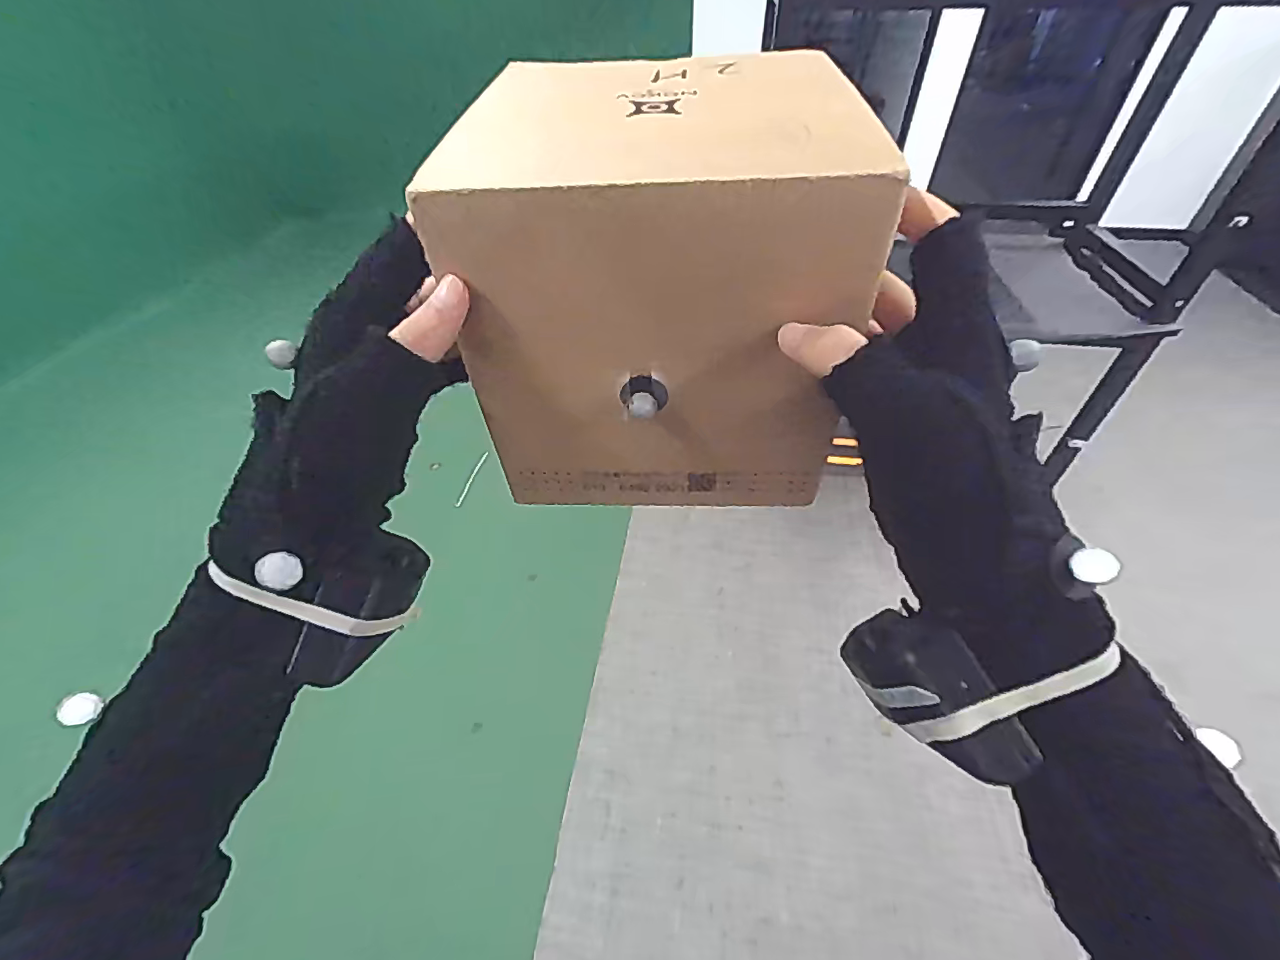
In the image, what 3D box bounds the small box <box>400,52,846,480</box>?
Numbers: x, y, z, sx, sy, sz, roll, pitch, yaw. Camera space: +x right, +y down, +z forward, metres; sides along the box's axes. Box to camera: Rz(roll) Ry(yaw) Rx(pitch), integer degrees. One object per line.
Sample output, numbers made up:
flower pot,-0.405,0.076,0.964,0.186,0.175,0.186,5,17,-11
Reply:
small box,0.002,-0.114,0.305,0.168,0.176,0.179,1,47,4
